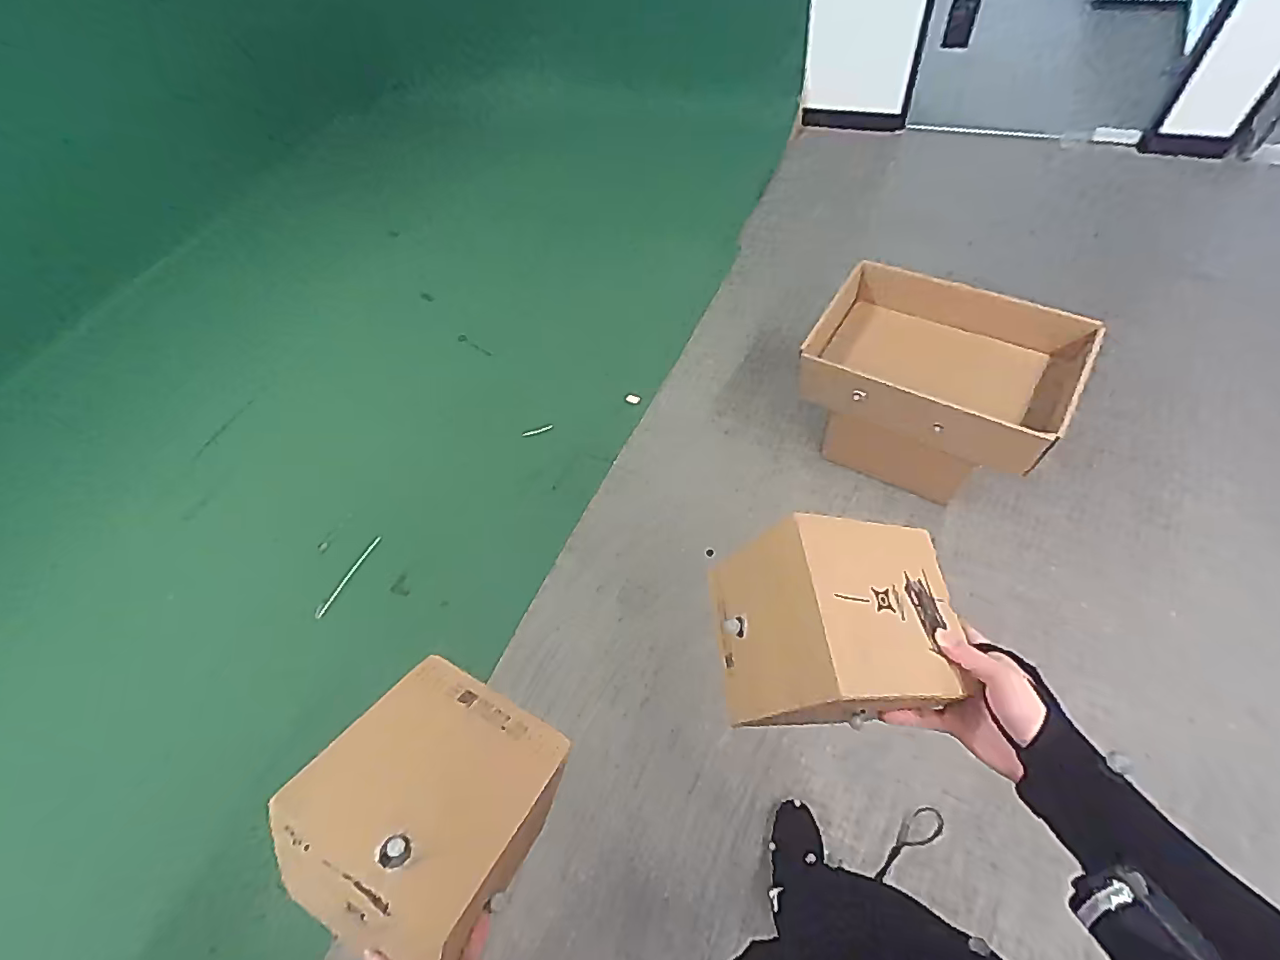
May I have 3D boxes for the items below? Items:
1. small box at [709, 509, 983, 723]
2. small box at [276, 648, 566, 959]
[{"bbox_3d":[0.193,0.148,0.554,0.179,0.176,0.168,8,57,-21],"label":"small box"},{"bbox_3d":[-0.186,0.295,0.492,0.168,0.179,0.176,27,34,14],"label":"small box"}]
